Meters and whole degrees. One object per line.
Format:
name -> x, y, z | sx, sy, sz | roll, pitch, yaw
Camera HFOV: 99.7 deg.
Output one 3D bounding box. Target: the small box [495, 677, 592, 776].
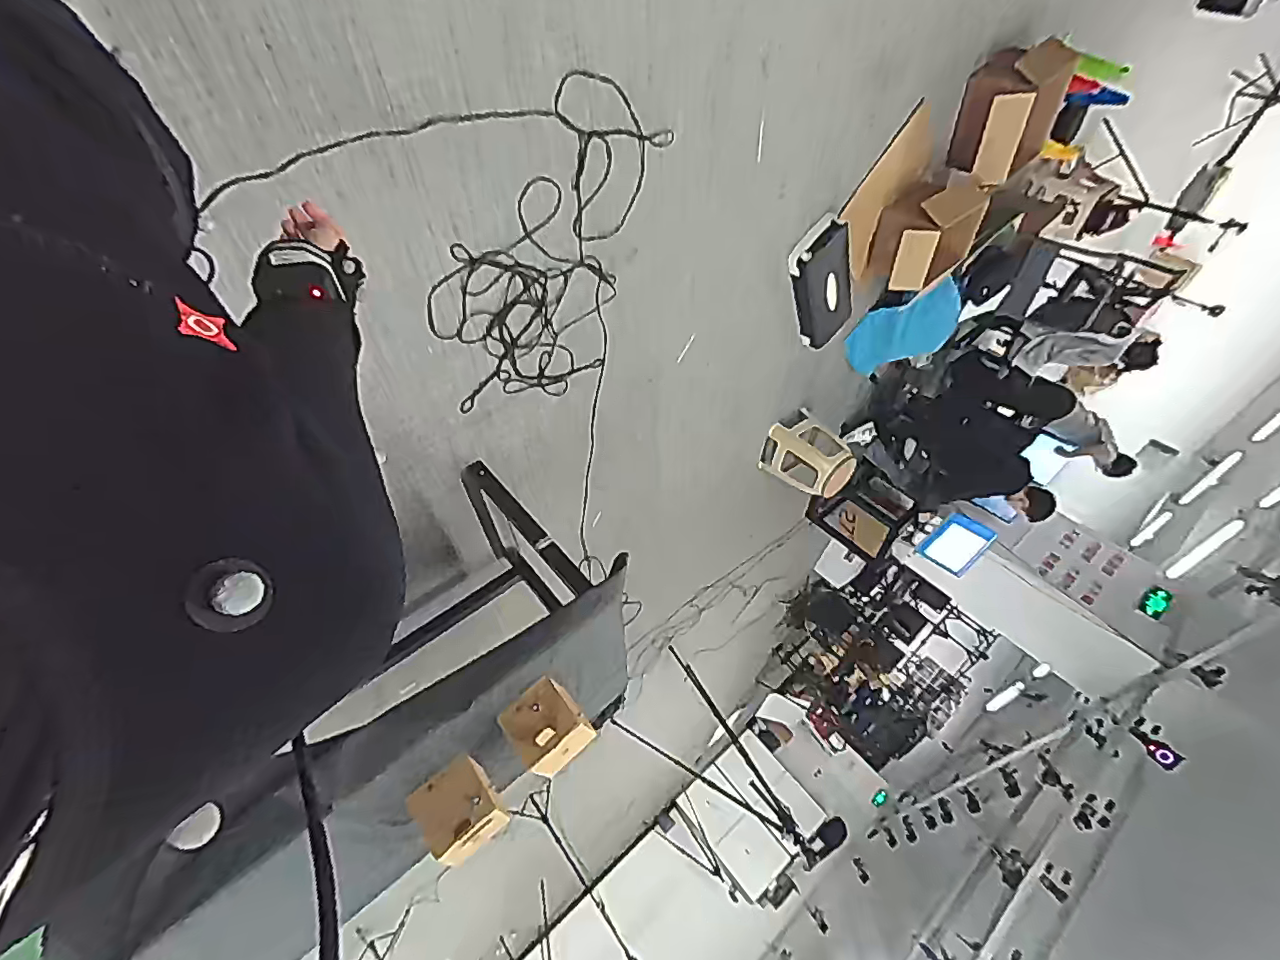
small box -> -0.257, 0.659, 1.452 | 0.168, 0.176, 0.179 | -39, 148, -14
